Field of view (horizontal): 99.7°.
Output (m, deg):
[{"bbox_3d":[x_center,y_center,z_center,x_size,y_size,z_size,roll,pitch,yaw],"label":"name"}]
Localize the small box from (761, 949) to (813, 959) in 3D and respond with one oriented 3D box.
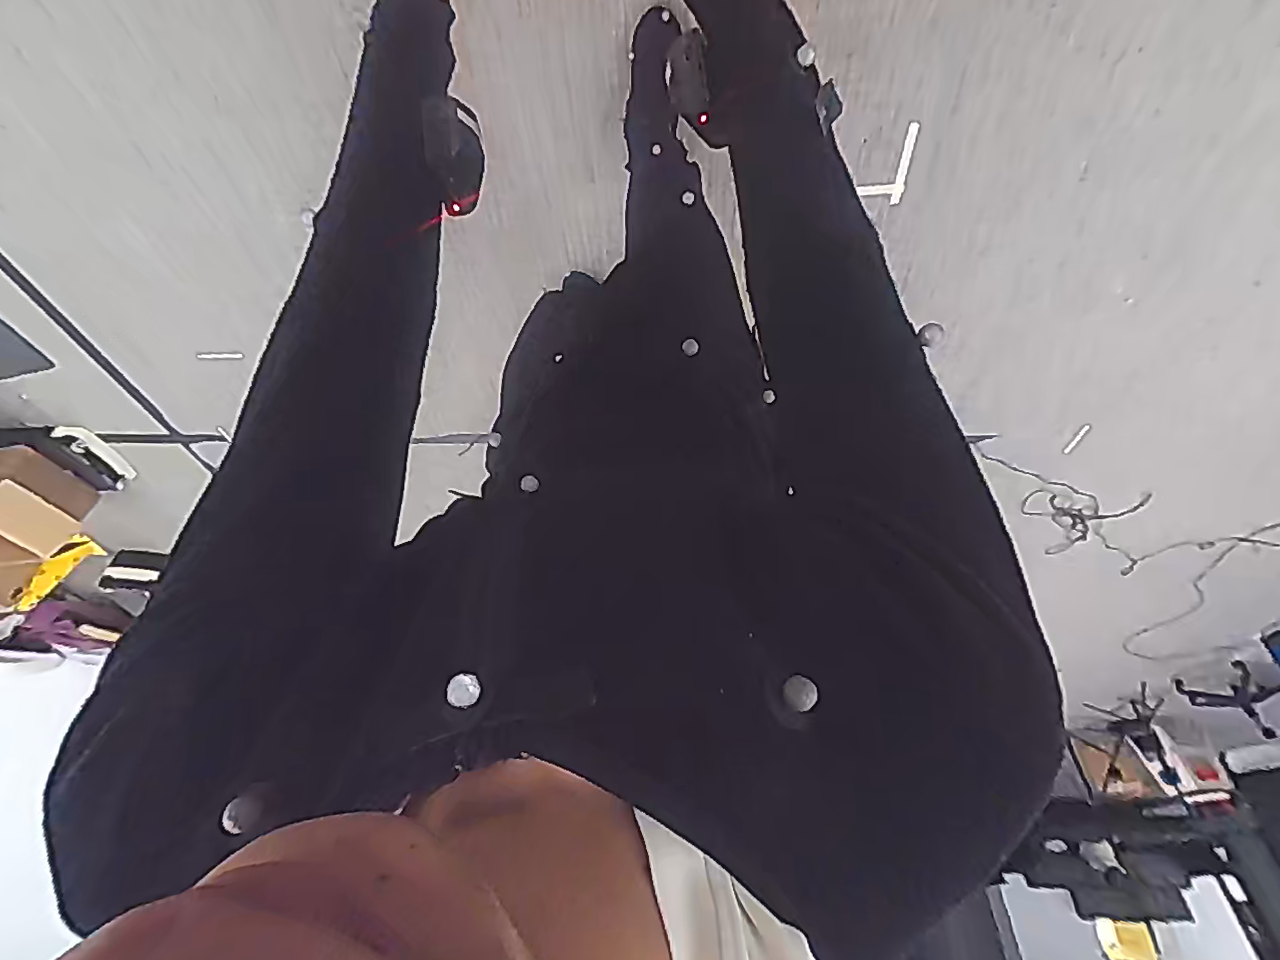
[{"bbox_3d":[0.541,1.818,1.962,0.168,0.176,0.179,2,141,2],"label":"small box"}]
